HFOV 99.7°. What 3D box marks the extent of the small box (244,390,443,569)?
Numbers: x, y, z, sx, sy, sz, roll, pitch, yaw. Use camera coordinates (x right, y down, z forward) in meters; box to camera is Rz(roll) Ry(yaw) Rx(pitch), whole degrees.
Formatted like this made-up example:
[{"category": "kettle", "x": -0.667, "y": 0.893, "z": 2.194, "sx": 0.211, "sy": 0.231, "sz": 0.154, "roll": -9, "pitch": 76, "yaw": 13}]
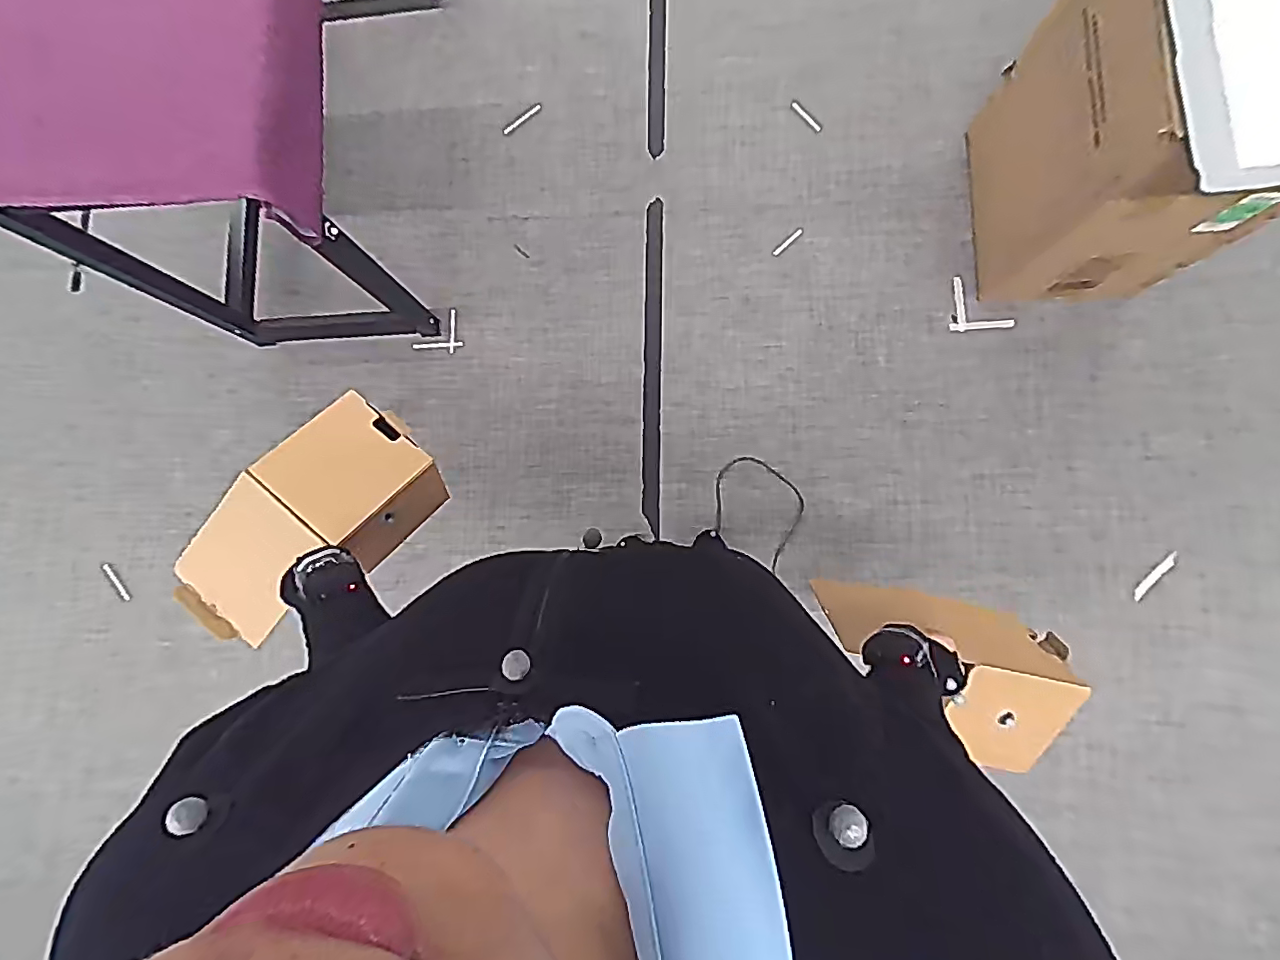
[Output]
[{"category": "small box", "x": -0.419, "y": 0.009, "z": 0.802, "sx": 0.168, "sy": 0.176, "sz": 0.179, "roll": 40, "pitch": 67, "yaw": 5}]
